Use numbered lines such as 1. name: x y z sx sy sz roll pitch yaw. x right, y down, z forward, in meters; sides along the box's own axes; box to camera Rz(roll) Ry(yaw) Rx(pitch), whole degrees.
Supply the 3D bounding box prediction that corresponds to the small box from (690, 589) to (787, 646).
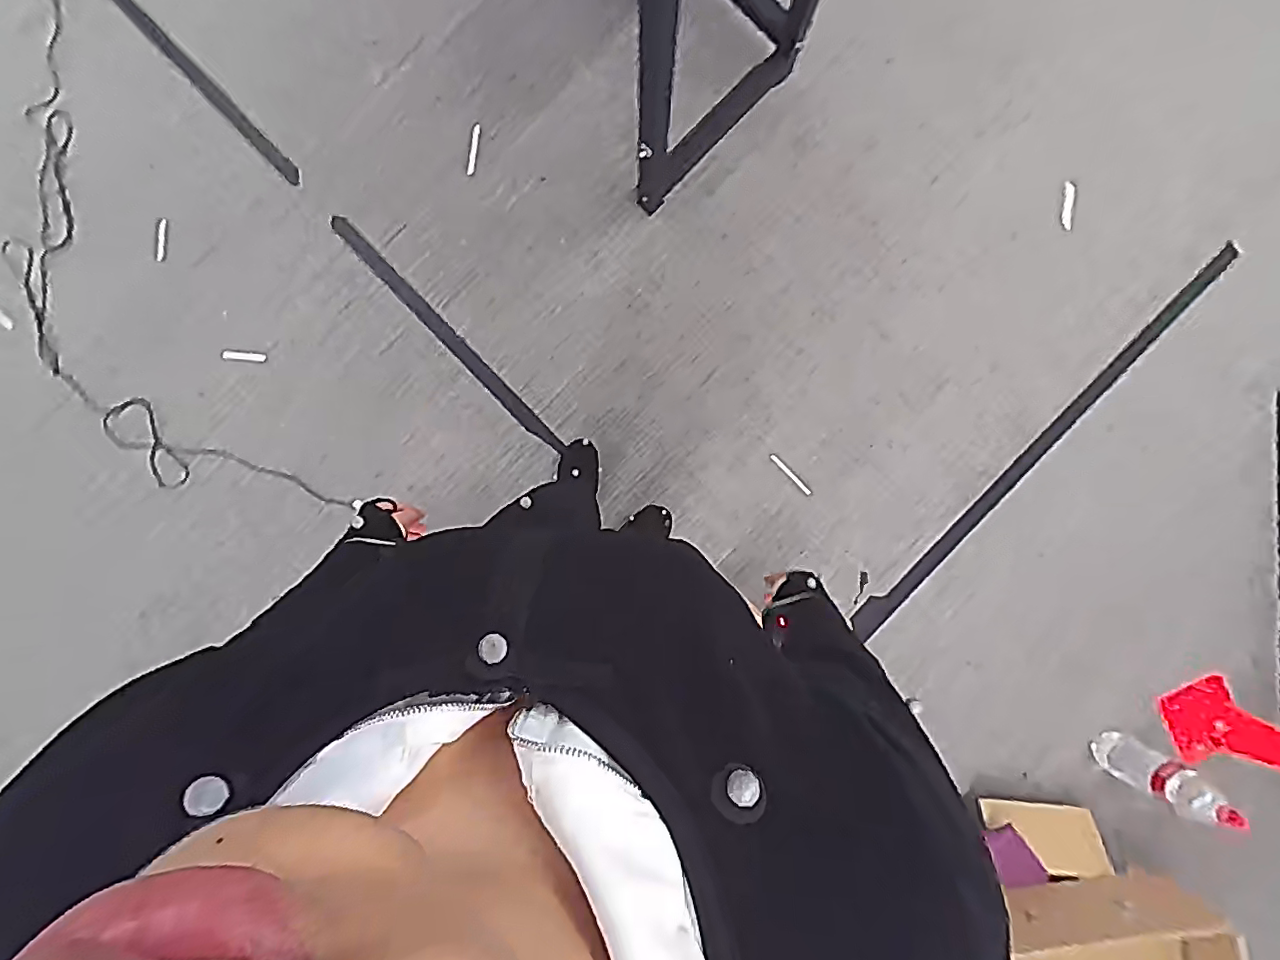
1. small box: 0.248 0.410 1.418 0.179 0.176 0.168 -44 89 -1
